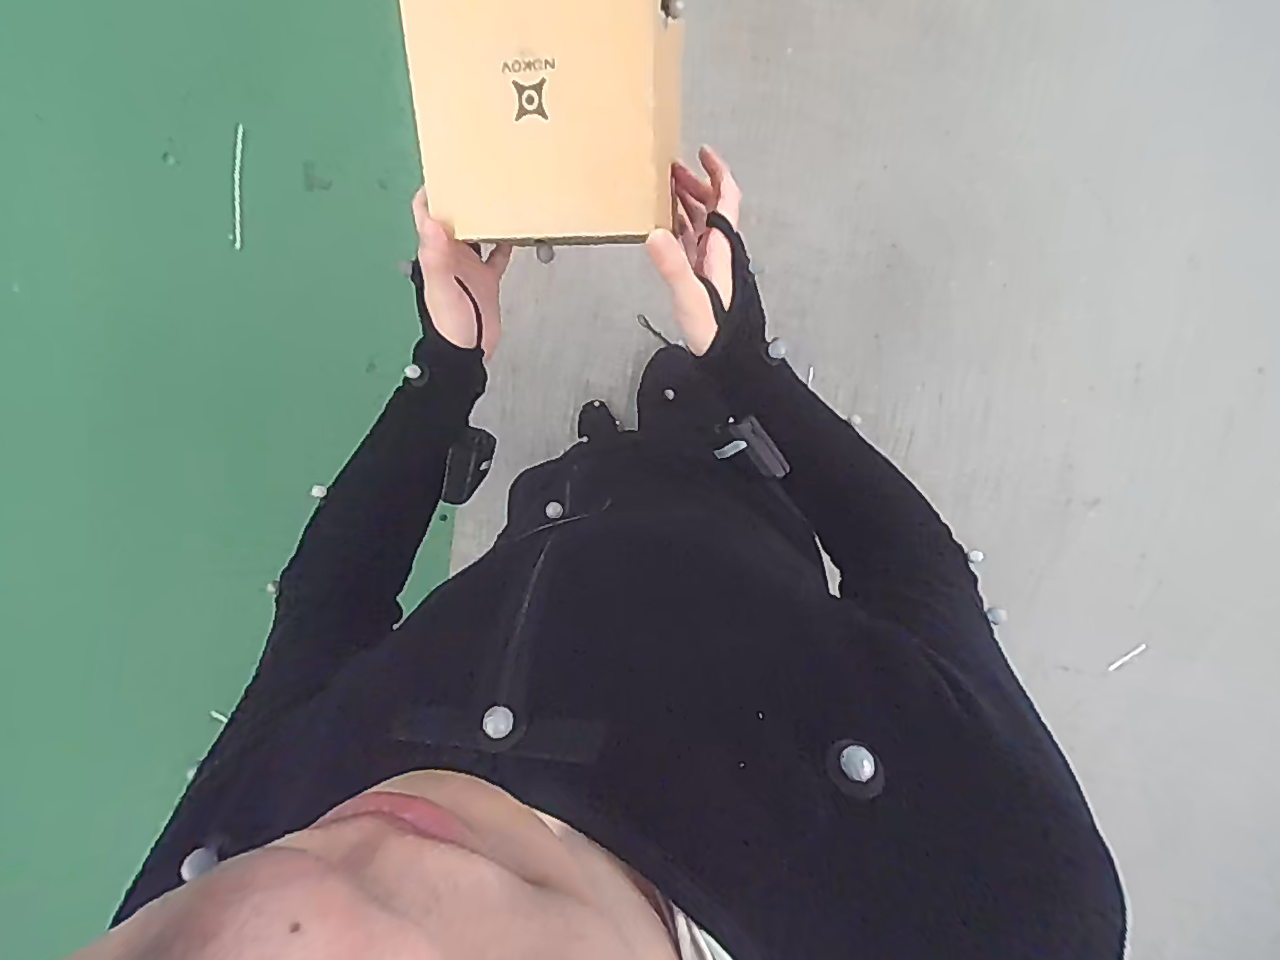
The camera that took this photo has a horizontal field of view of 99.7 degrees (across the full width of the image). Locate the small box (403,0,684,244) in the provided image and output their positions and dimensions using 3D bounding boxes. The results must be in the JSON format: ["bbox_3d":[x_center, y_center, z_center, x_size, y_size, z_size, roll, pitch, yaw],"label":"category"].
[{"bbox_3d":[-0.056,-0.283,0.422,0.168,0.176,0.179,3,110,9],"label":"small box"}]
